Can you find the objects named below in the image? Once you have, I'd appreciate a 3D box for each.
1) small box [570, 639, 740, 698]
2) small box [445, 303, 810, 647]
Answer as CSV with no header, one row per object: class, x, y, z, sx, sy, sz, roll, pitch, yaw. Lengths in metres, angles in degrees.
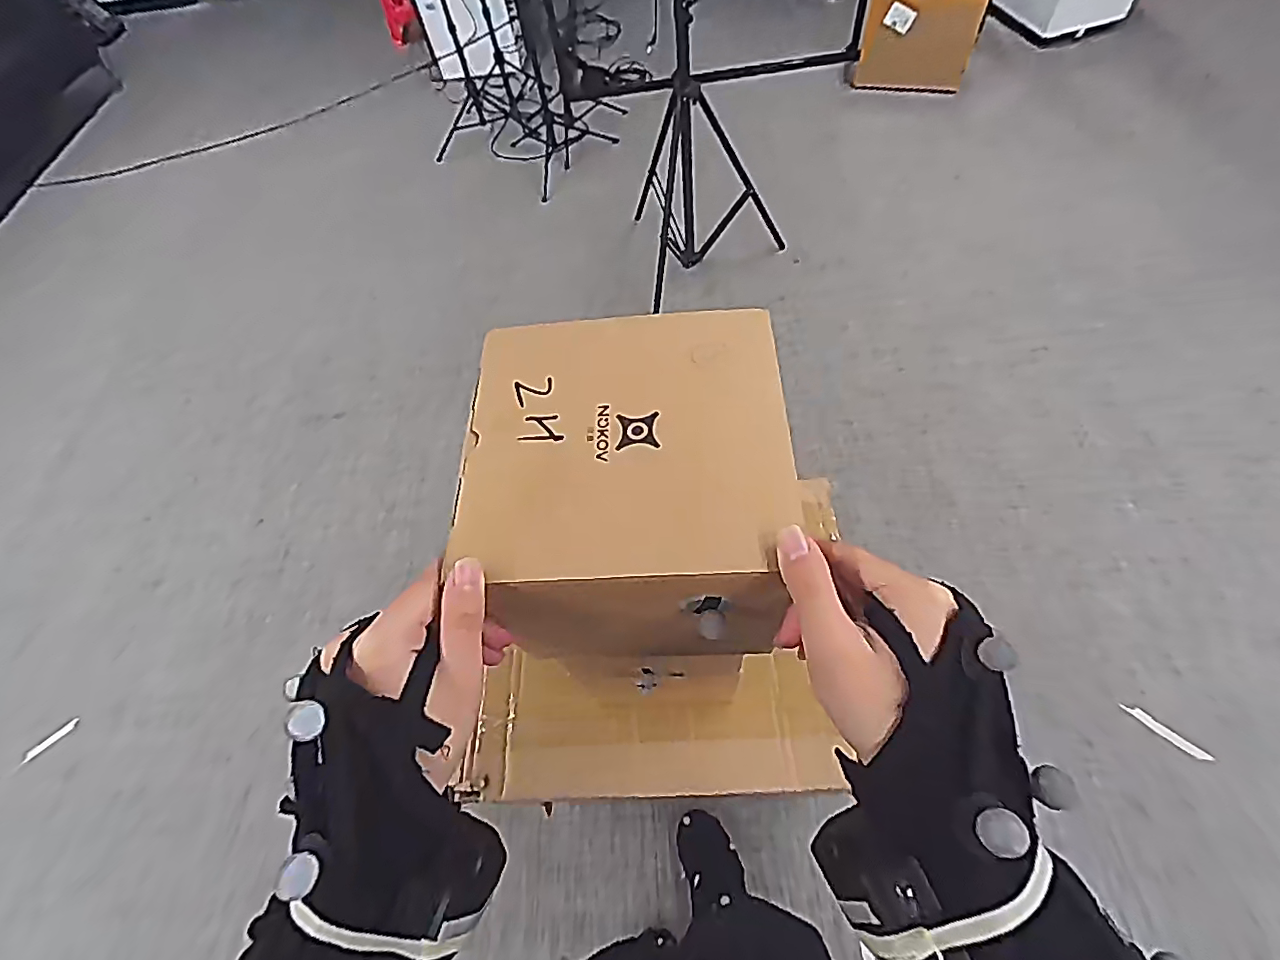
small box,0.024,0.163,0.652,0.179,0.176,0.168,-3,59,5
small box,-0.001,0.009,0.361,0.179,0.176,0.168,-4,59,5
